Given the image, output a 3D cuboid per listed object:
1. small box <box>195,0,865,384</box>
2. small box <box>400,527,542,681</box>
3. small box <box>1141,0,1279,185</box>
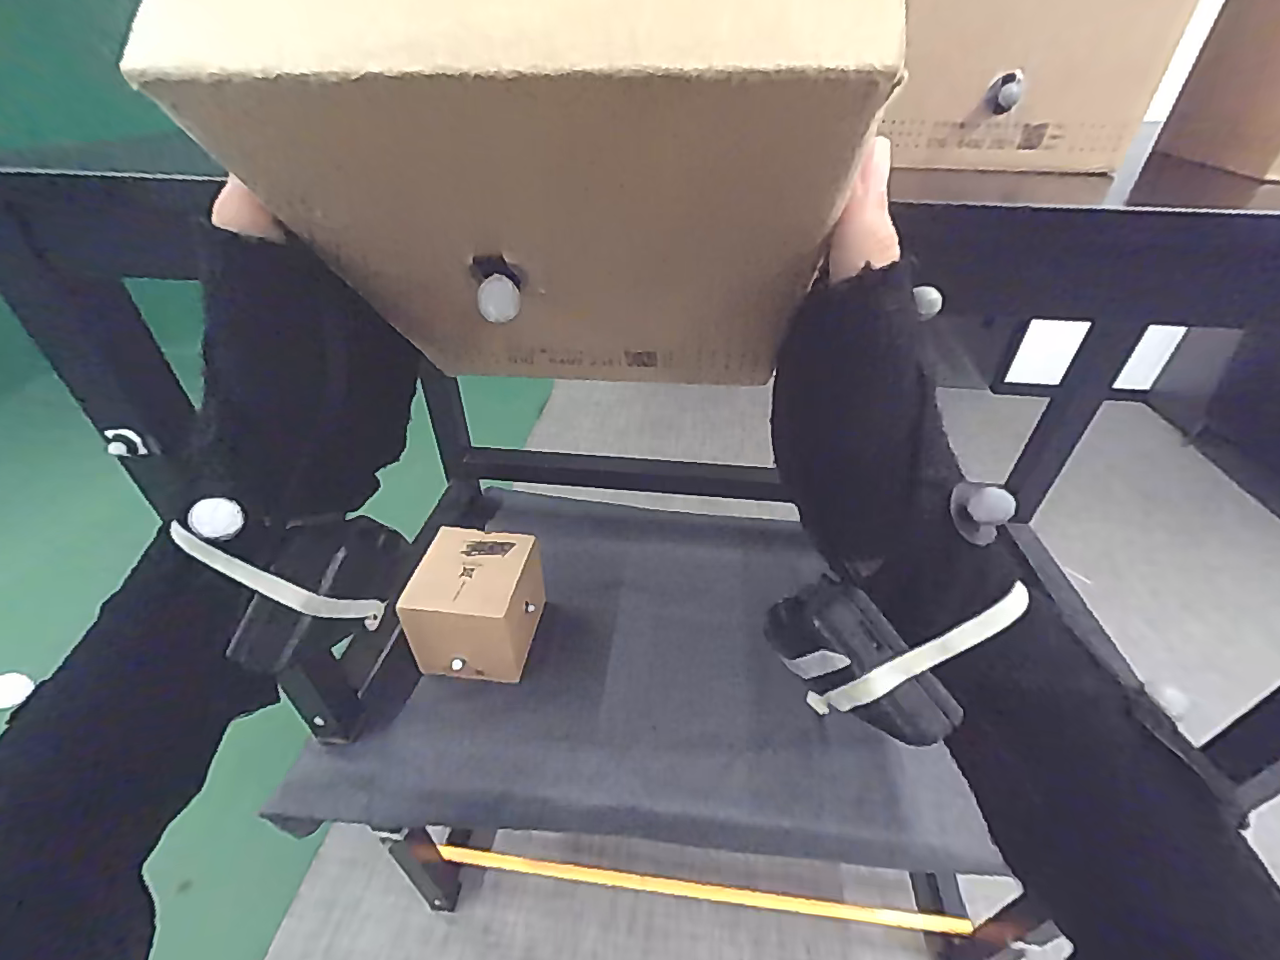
[{"bbox_3d":[-0.018,-0.150,0.221,0.168,0.176,0.179,3,78,5],"label":"small box"},{"bbox_3d":[-0.266,0.203,0.899,0.168,0.176,0.179,4,38,5],"label":"small box"},{"bbox_3d":[0.485,-0.283,0.343,0.168,0.176,0.179,12,38,14],"label":"small box"}]
